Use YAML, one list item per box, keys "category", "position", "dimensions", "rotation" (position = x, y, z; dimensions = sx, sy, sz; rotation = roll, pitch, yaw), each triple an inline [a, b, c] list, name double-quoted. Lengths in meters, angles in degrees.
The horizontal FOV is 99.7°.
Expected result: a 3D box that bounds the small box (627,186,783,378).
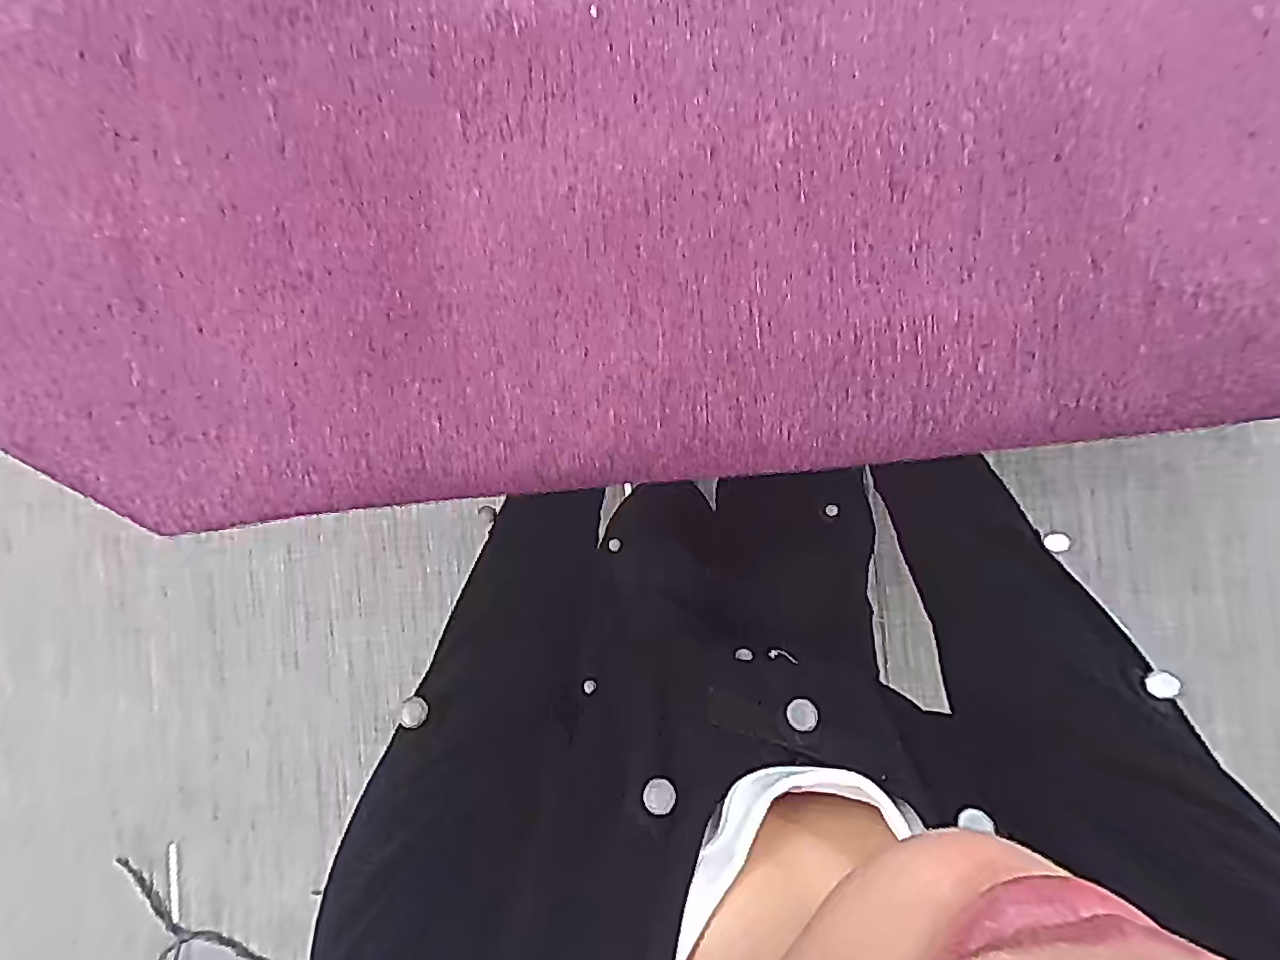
- category: "small box"
  position: [0.080, -0.246, 0.710]
  dimensions: [0.168, 0.176, 0.179]
  rotation: [-8, 90, 5]
